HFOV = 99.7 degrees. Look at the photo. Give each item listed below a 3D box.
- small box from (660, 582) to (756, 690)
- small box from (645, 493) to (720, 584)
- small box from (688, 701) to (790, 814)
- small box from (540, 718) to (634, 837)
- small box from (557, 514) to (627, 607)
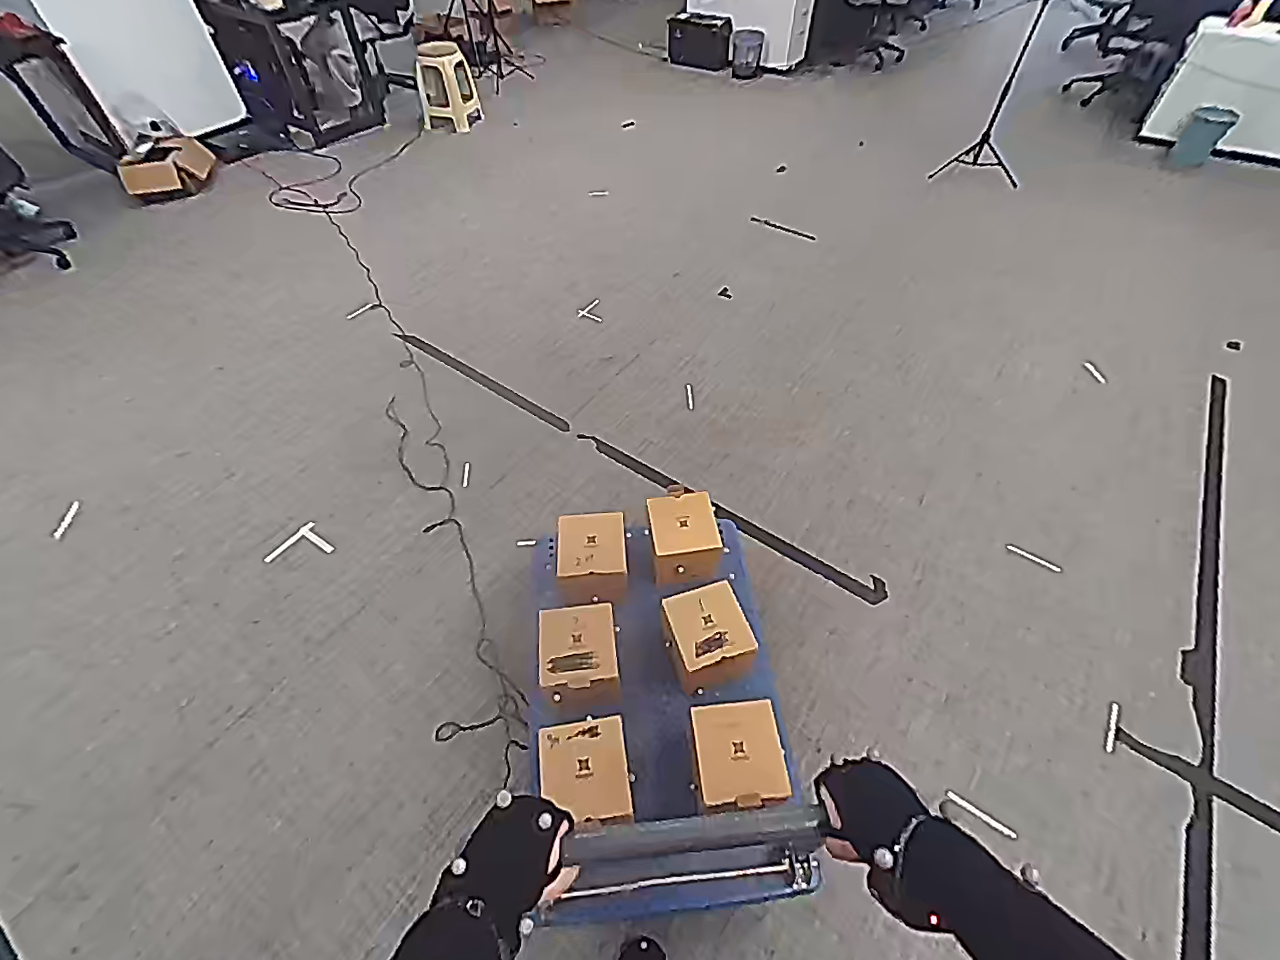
[{"bbox_3d":[0.152,0.371,1.261,0.168,0.176,0.179,-15,52,-10],"label":"small box"},{"bbox_3d":[0.108,0.161,1.429,0.168,0.176,0.179,-8,52,-4],"label":"small box"},{"bbox_3d":[0.192,0.571,1.103,0.168,0.176,0.179,-4,51,-3],"label":"small box"},{"bbox_3d":[-0.104,0.599,1.083,0.168,0.176,0.179,-7,52,-6],"label":"small box"},{"bbox_3d":[-0.119,0.209,1.393,0.168,0.176,0.179,-4,52,-2],"label":"small box"}]
